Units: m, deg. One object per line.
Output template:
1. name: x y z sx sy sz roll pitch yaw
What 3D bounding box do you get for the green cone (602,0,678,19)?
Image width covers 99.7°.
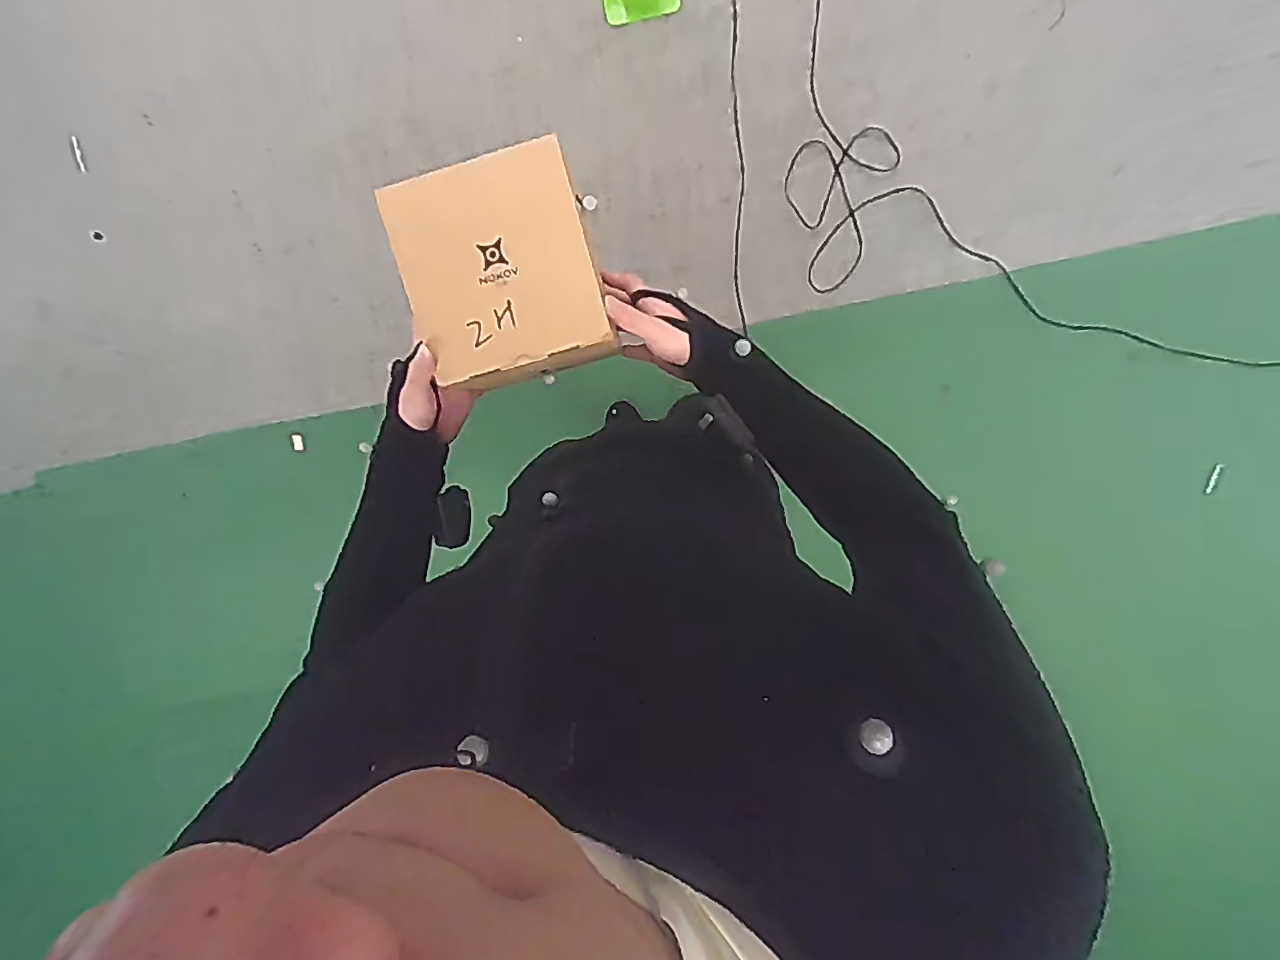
1. green cone: -0.015 -1.310 1.257 0.202 0.368 0.200 -9 99 4
